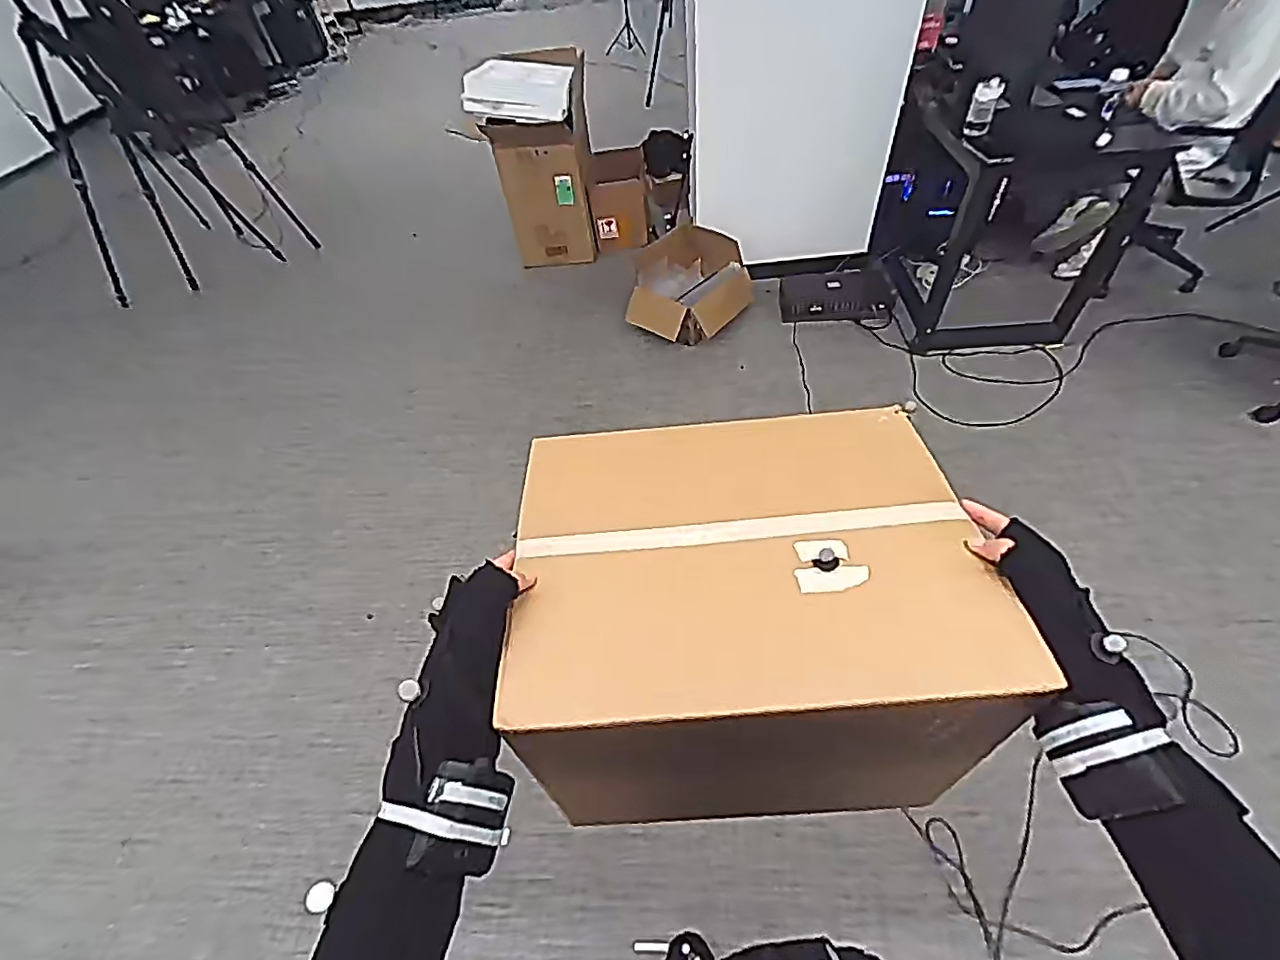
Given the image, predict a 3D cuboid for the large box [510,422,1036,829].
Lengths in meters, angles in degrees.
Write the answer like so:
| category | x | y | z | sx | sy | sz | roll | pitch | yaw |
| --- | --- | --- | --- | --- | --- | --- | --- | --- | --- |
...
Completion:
| category | x | y | z | sx | sy | sz | roll | pitch | yaw |
| --- | --- | --- | --- | --- | --- | --- | --- | --- | --- |
| large box | 0.101 | 0.166 | 0.610 | 0.408 | 0.320 | 0.320 | -5 | 46 | 2 |
